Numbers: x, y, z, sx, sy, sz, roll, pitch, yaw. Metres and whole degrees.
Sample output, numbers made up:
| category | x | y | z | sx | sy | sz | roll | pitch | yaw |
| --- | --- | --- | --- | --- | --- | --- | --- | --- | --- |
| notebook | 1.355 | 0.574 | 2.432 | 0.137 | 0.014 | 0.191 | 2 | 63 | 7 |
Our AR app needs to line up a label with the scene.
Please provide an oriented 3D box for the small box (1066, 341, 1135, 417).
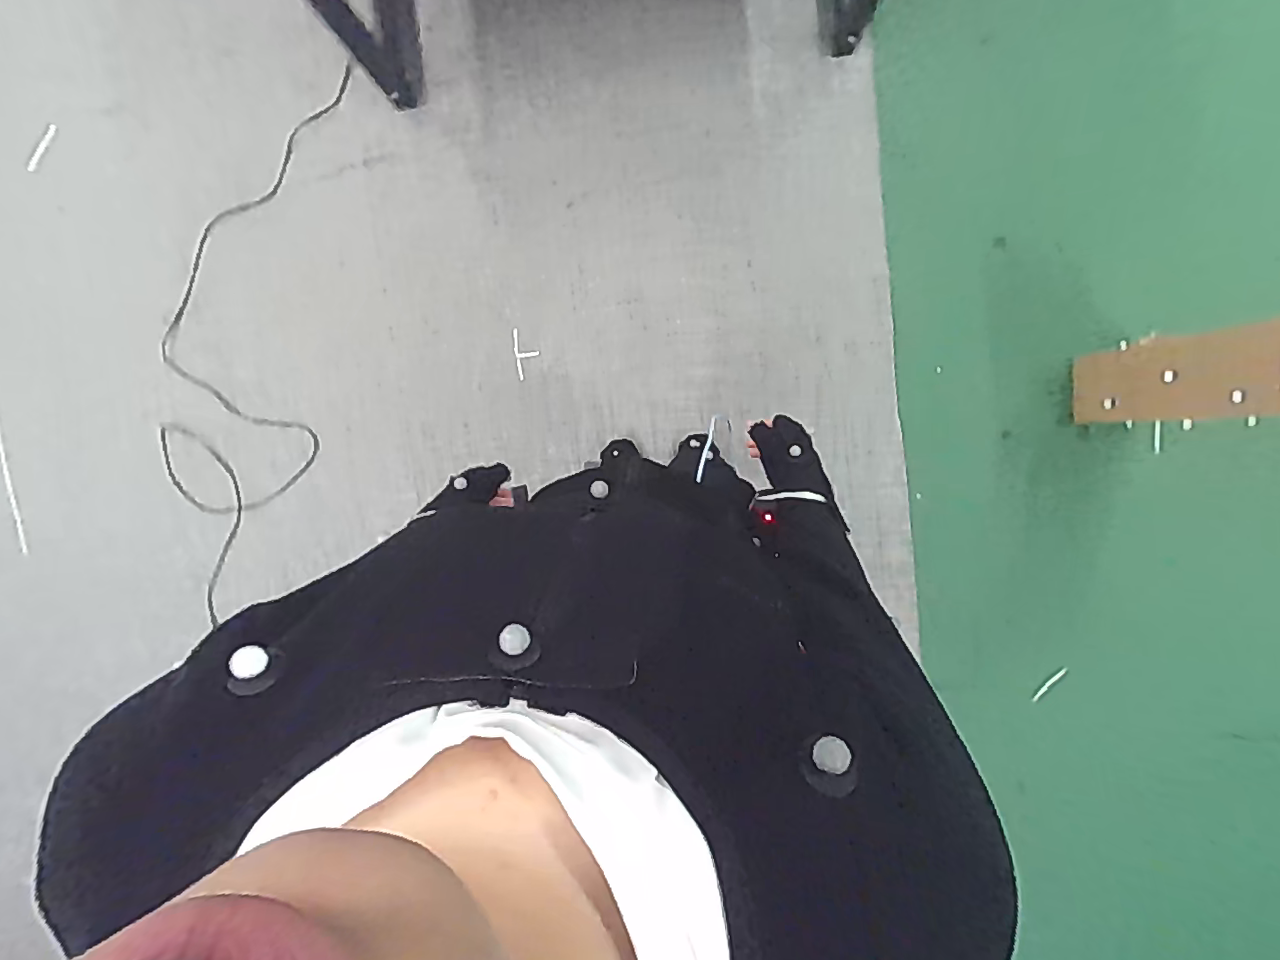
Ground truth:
| category | x | y | z | sx | sy | sz | roll | pitch | yaw |
| --- | --- | --- | --- | --- | --- | --- | --- | --- | --- |
| small box | 1.195 | -0.250 | 1.335 | 0.168 | 0.176 | 0.179 | -5 | 96 | 2 |

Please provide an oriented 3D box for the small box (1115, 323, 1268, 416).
| category | x | y | z | sx | sy | sz | roll | pitch | yaw |
| --- | --- | --- | --- | --- | --- | --- | --- | --- | --- |
| small box | 1.182 | -0.232 | 1.173 | 0.168 | 0.176 | 0.179 | -4 | 95 | 3 |
